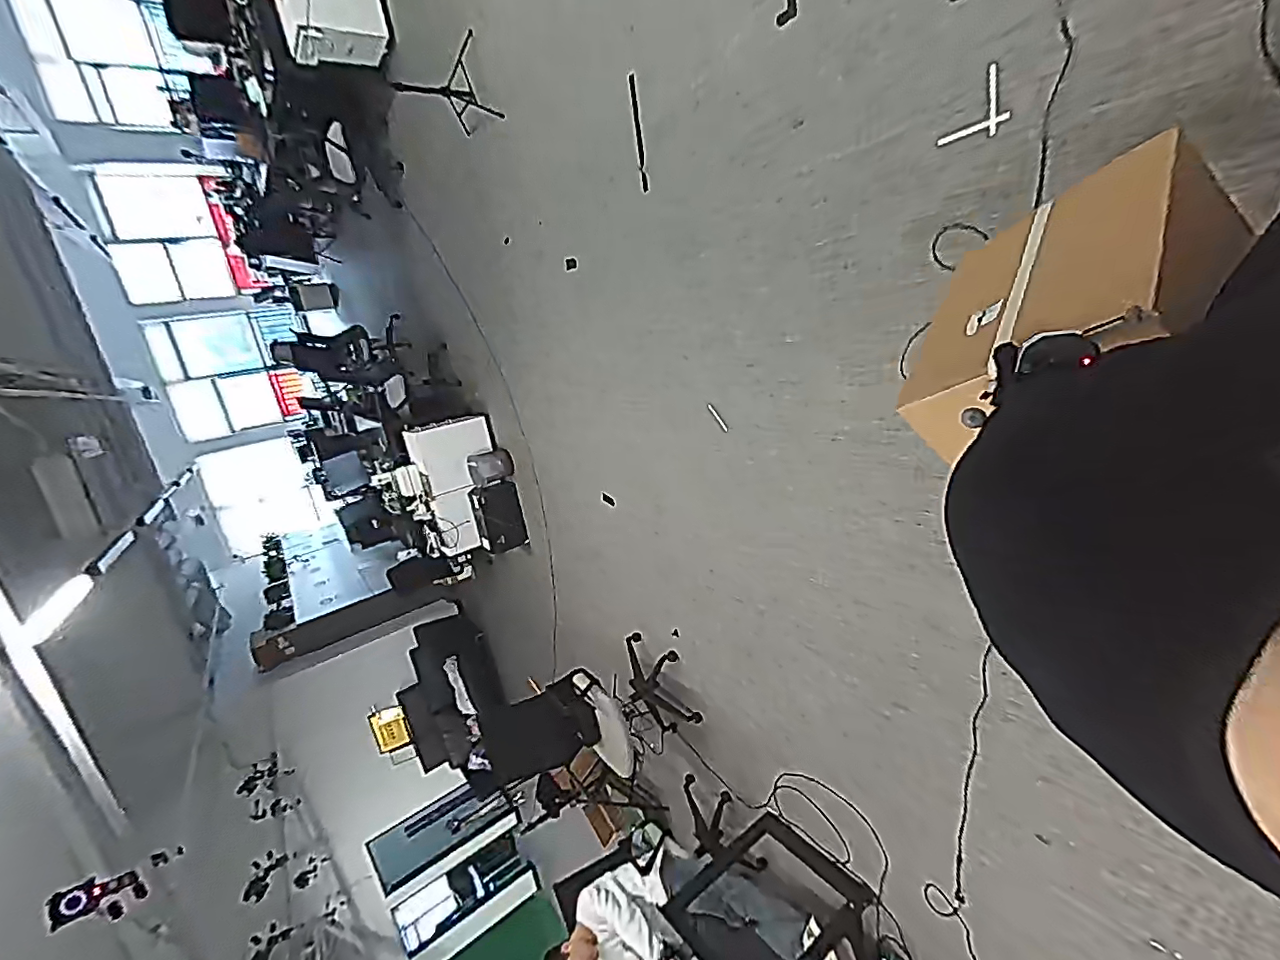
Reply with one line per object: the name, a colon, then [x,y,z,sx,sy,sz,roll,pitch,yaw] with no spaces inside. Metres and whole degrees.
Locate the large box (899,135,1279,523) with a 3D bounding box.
large box: [0.667,-0.201,0.811,0.320,0.408,0.320,39,153,-11]
